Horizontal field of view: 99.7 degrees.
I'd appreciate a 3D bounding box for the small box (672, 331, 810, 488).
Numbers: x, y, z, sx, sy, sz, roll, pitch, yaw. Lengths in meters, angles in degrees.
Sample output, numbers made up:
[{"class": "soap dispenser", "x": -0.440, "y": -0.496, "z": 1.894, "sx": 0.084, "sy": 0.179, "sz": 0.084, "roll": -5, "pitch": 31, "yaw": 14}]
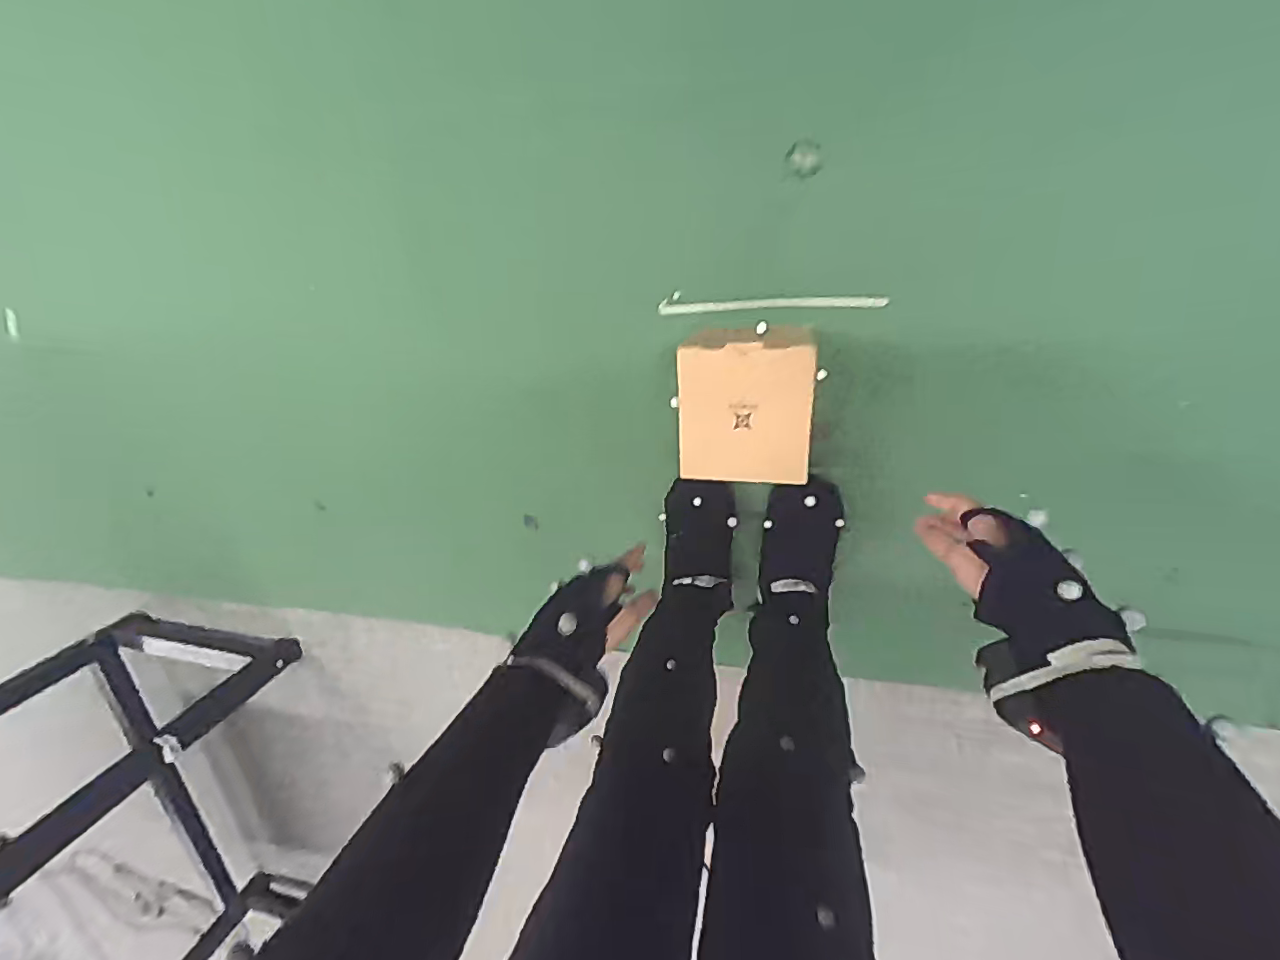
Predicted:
[{"class": "small box", "x": 0.145, "y": -0.104, "z": 0.748, "sx": 0.168, "sy": 0.176, "sz": 0.179, "roll": 2, "pitch": 112, "yaw": 16}]
